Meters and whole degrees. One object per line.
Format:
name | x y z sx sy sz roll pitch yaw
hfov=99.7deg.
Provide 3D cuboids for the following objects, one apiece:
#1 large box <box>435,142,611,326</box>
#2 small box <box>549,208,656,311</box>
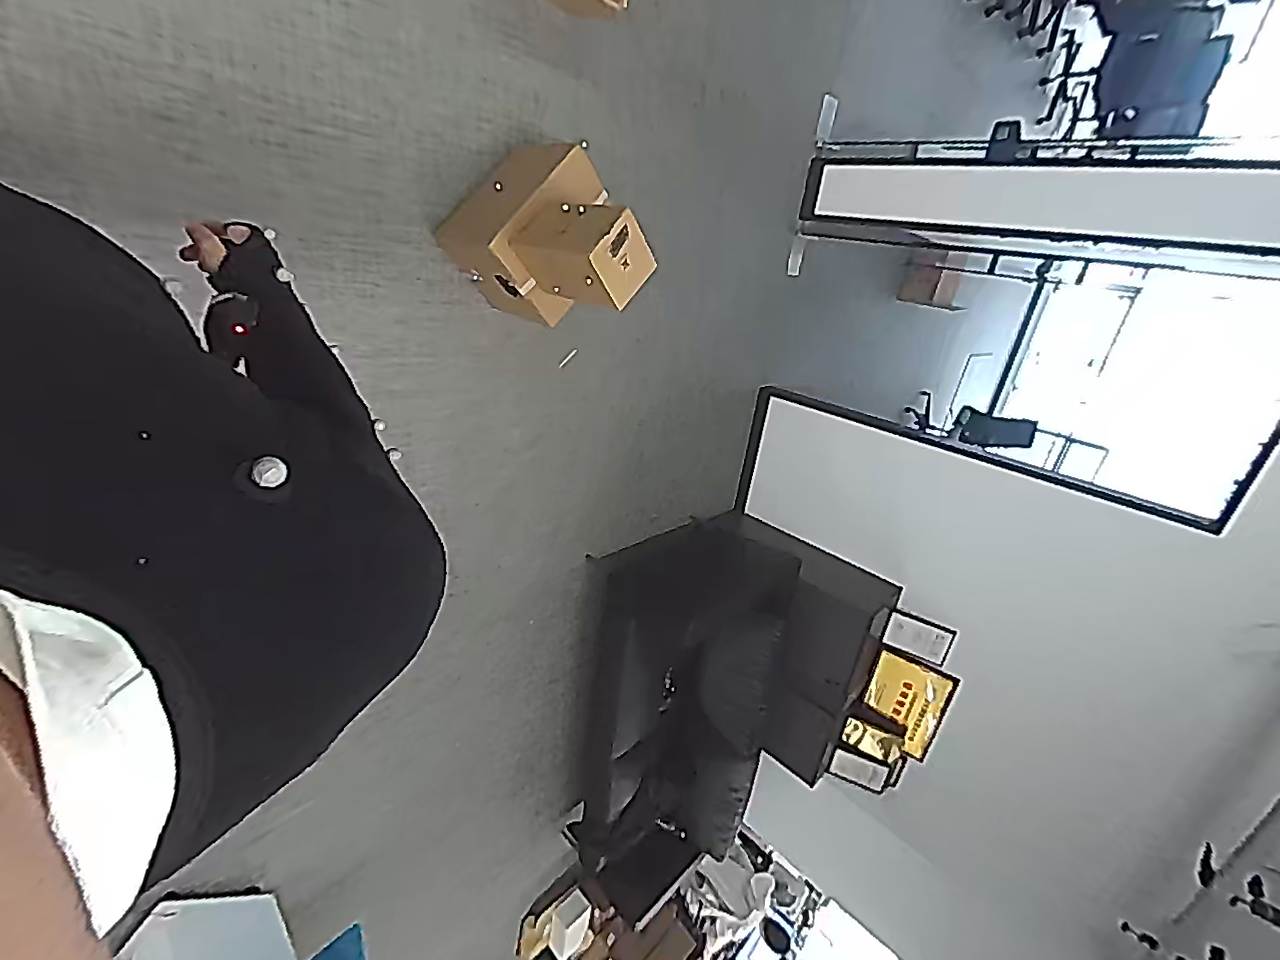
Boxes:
large box | -0.330 -0.741 1.643 0.408 0.320 0.320 -55 143 -12
small box | -0.096 -0.554 1.352 0.168 0.176 0.179 -54 142 -12
